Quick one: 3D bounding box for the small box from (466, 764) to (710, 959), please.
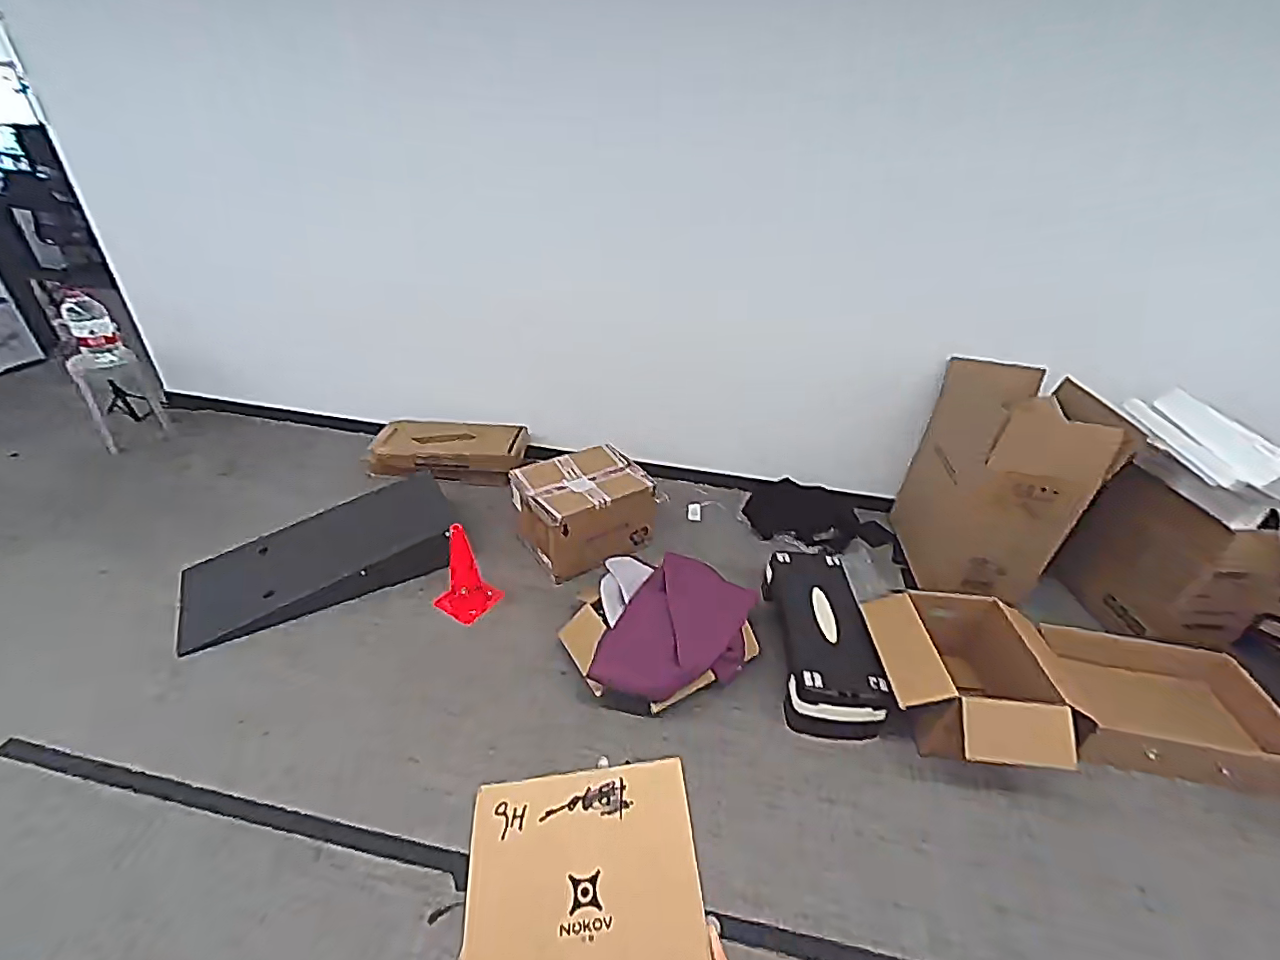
[{"bbox_3d":[-0.032,0.353,0.430,0.168,0.176,0.179,-8,47,-3],"label":"small box"}]
